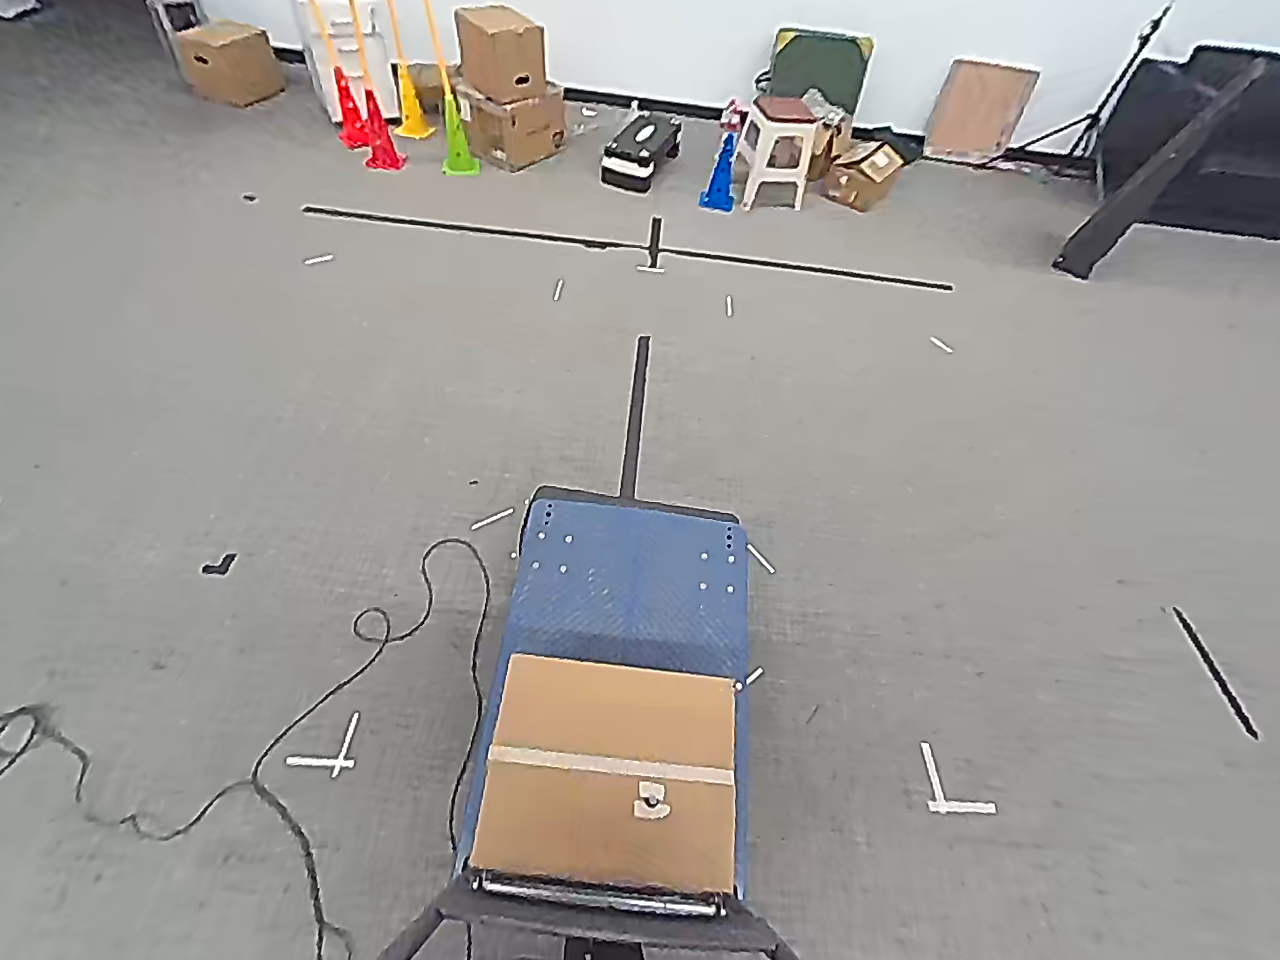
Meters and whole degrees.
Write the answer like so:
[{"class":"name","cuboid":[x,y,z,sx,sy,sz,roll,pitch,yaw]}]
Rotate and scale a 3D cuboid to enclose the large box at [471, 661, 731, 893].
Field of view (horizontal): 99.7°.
[{"class":"large box","cuboid":[-0.063,0.544,1.014,0.408,0.320,0.320,8,62,-3]}]
